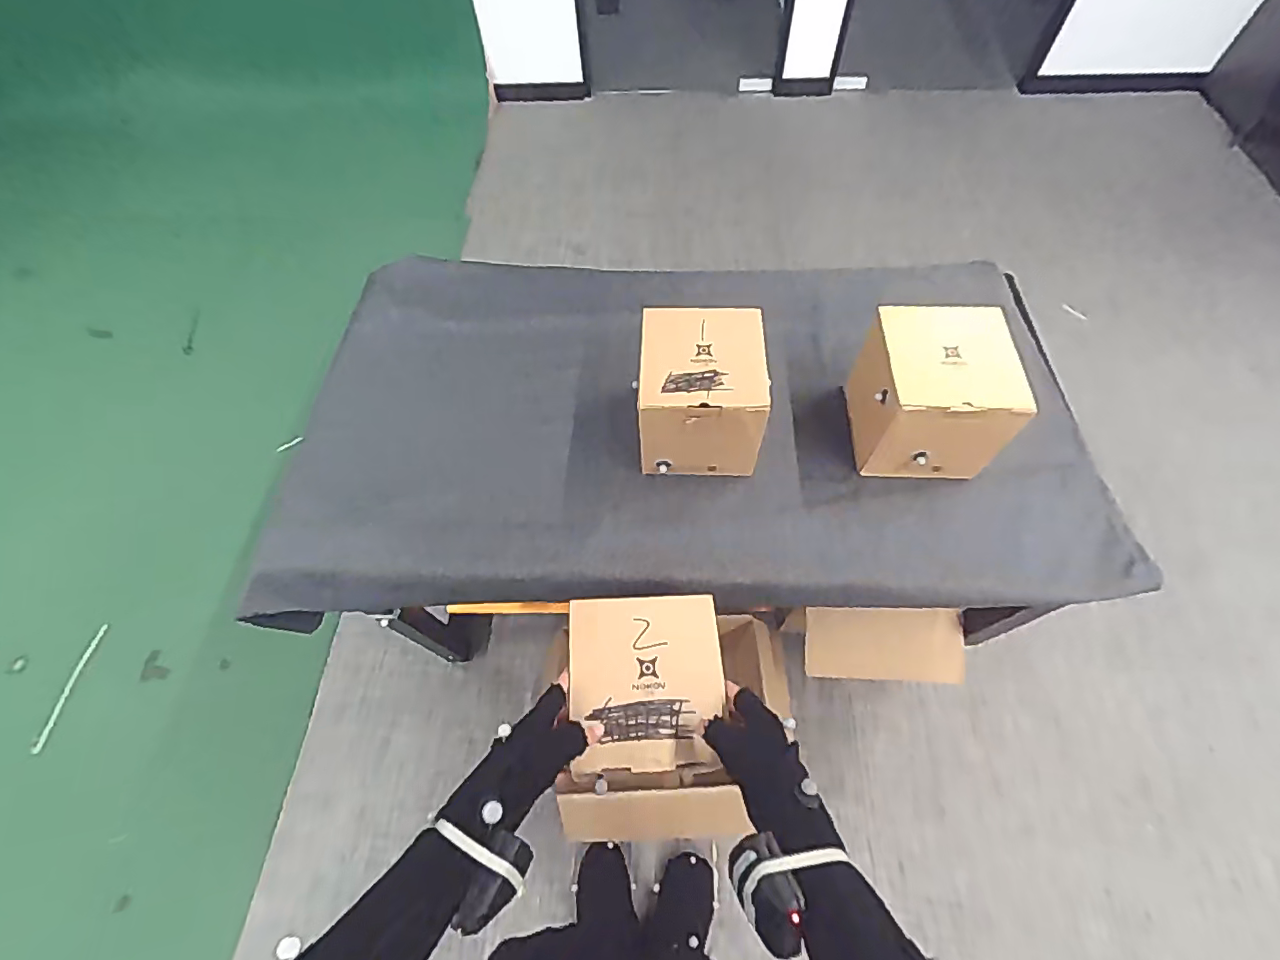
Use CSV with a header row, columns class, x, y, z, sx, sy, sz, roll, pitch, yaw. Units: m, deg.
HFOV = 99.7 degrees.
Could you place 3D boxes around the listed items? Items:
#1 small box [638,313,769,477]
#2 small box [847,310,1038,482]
class,x,y,z,sx,sy,sz,roll,pitch,yaw
small box,0.087,-0.117,0.779,0.168,0.176,0.179,1,59,3
small box,0.407,-0.116,0.767,0.168,0.176,0.179,1,61,3
